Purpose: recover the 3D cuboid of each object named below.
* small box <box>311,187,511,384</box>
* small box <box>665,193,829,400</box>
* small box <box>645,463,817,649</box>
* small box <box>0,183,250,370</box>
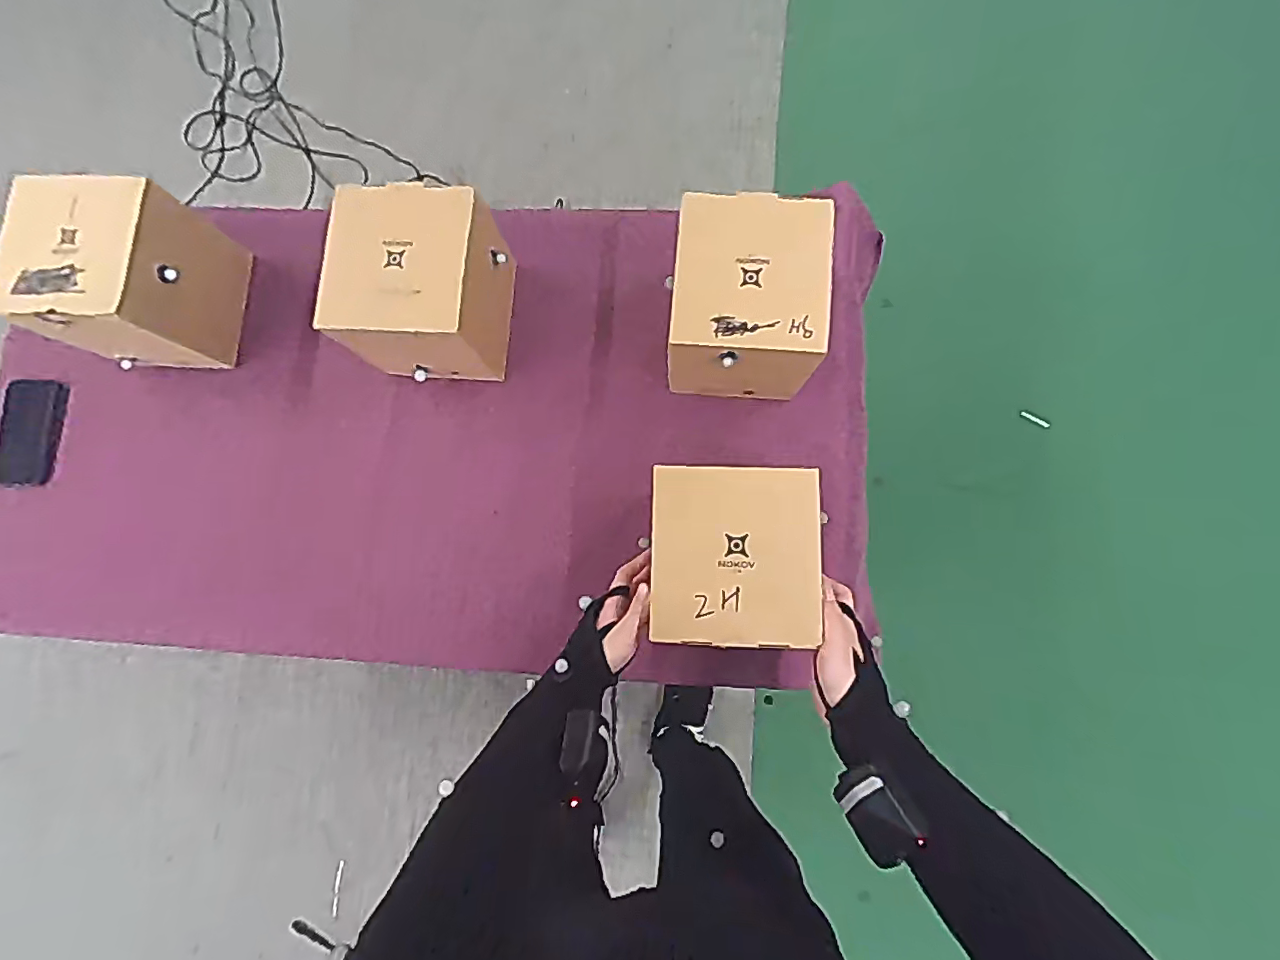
[{"bbox_3d":[-0.270,-0.234,0.679,0.168,0.176,0.179,3,83,5],"label":"small box"},{"bbox_3d":[0.119,-0.210,0.649,0.168,0.176,0.179,4,82,5],"label":"small box"},{"bbox_3d":[0.095,0.083,0.604,0.168,0.176,0.179,1,82,5],"label":"small box"},{"bbox_3d":[-0.653,-0.252,0.704,0.168,0.176,0.179,2,82,4],"label":"small box"}]
